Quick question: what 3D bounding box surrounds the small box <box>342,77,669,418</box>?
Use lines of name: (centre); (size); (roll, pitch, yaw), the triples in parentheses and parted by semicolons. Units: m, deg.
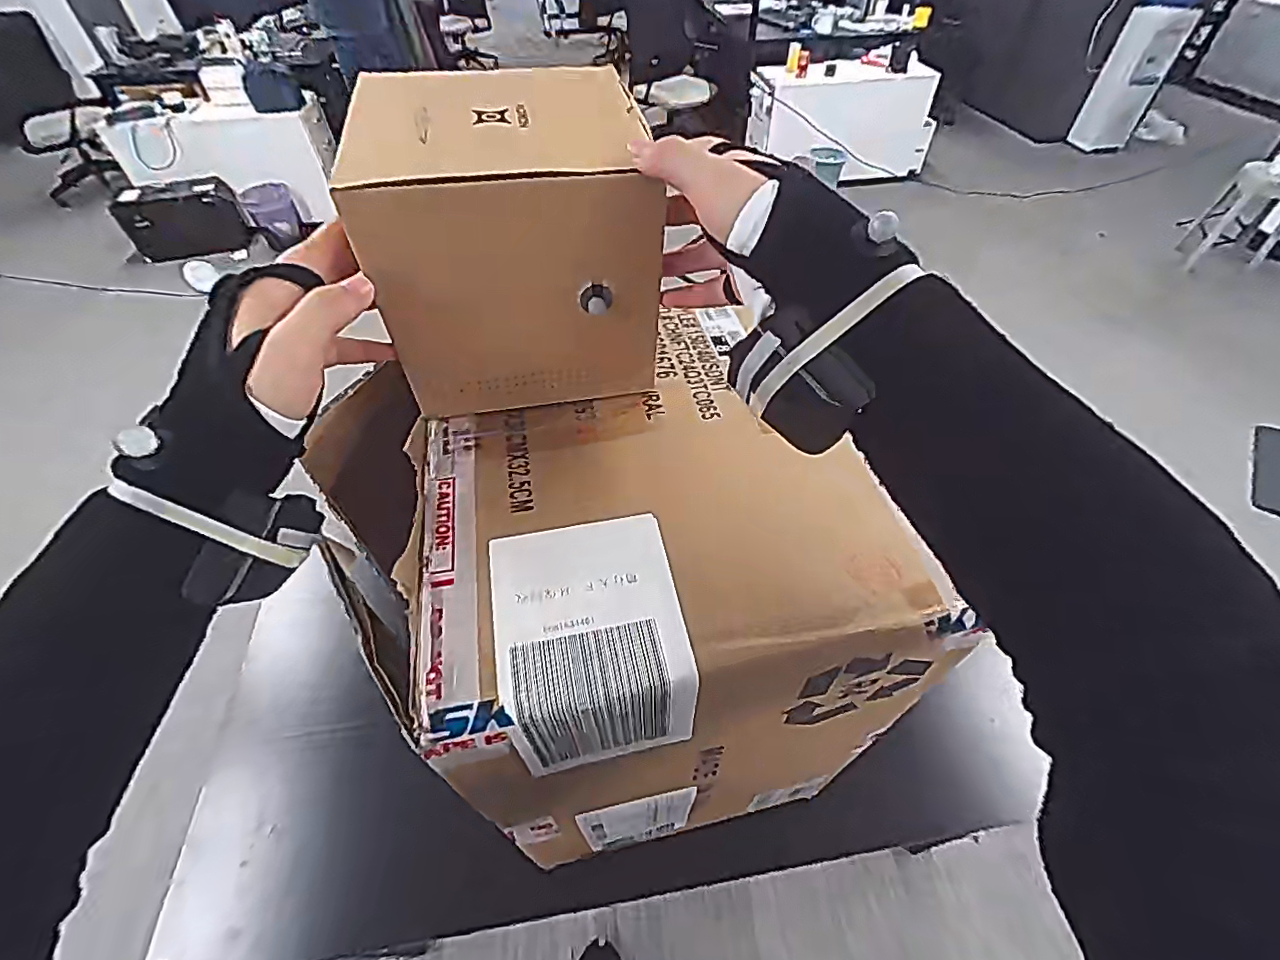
small box: (-0.087, -0.167, 0.399); (0.179, 0.176, 0.168); (-9, 53, -8)
